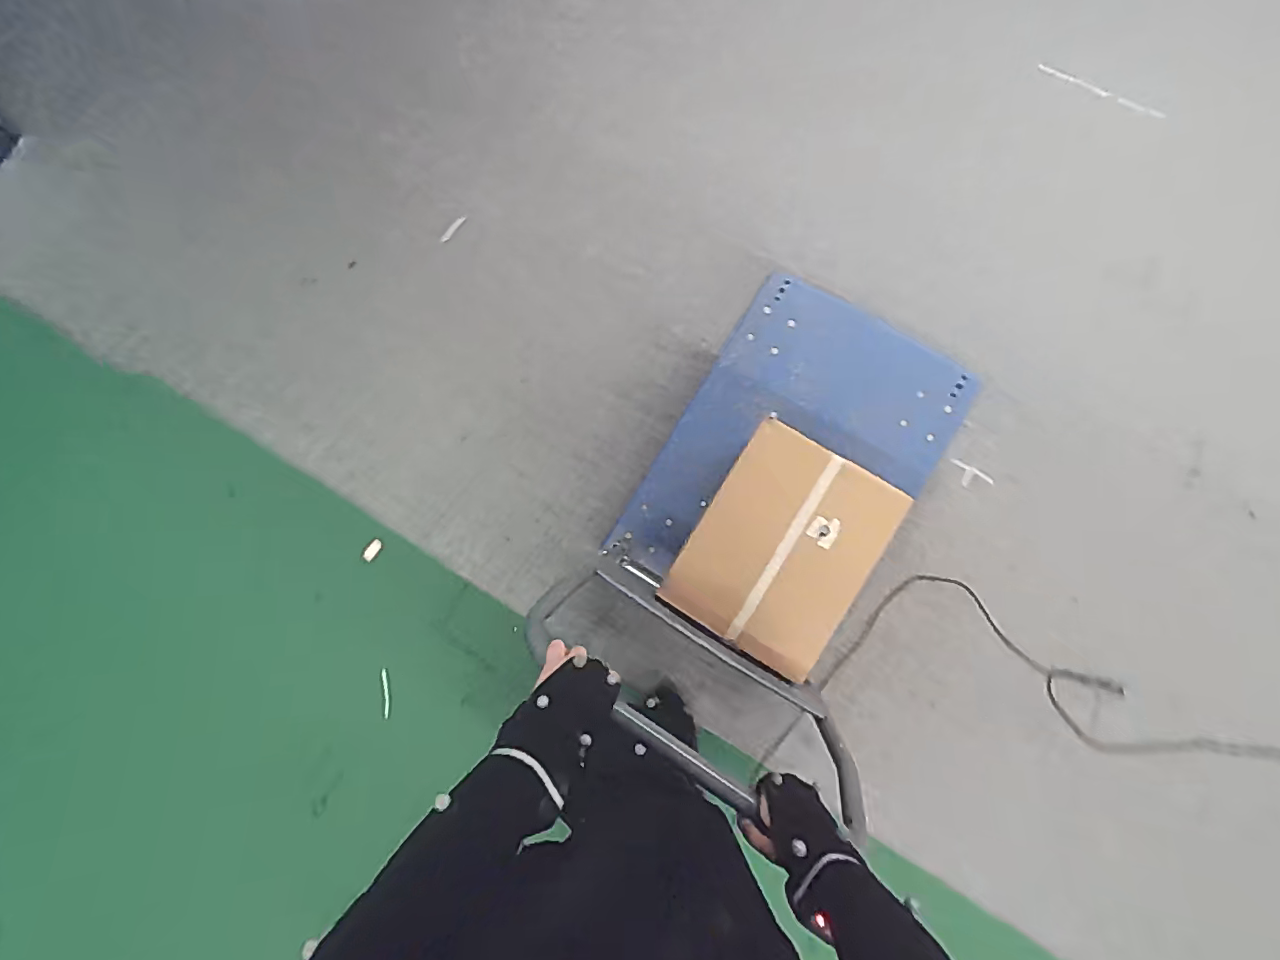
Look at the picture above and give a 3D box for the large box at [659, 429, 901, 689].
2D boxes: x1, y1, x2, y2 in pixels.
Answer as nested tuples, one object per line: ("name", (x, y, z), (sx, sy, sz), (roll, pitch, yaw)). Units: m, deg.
("large box", (0.277, 0.161, 1.173), (0.320, 0.320, 0.408), (32, 88, 7))
